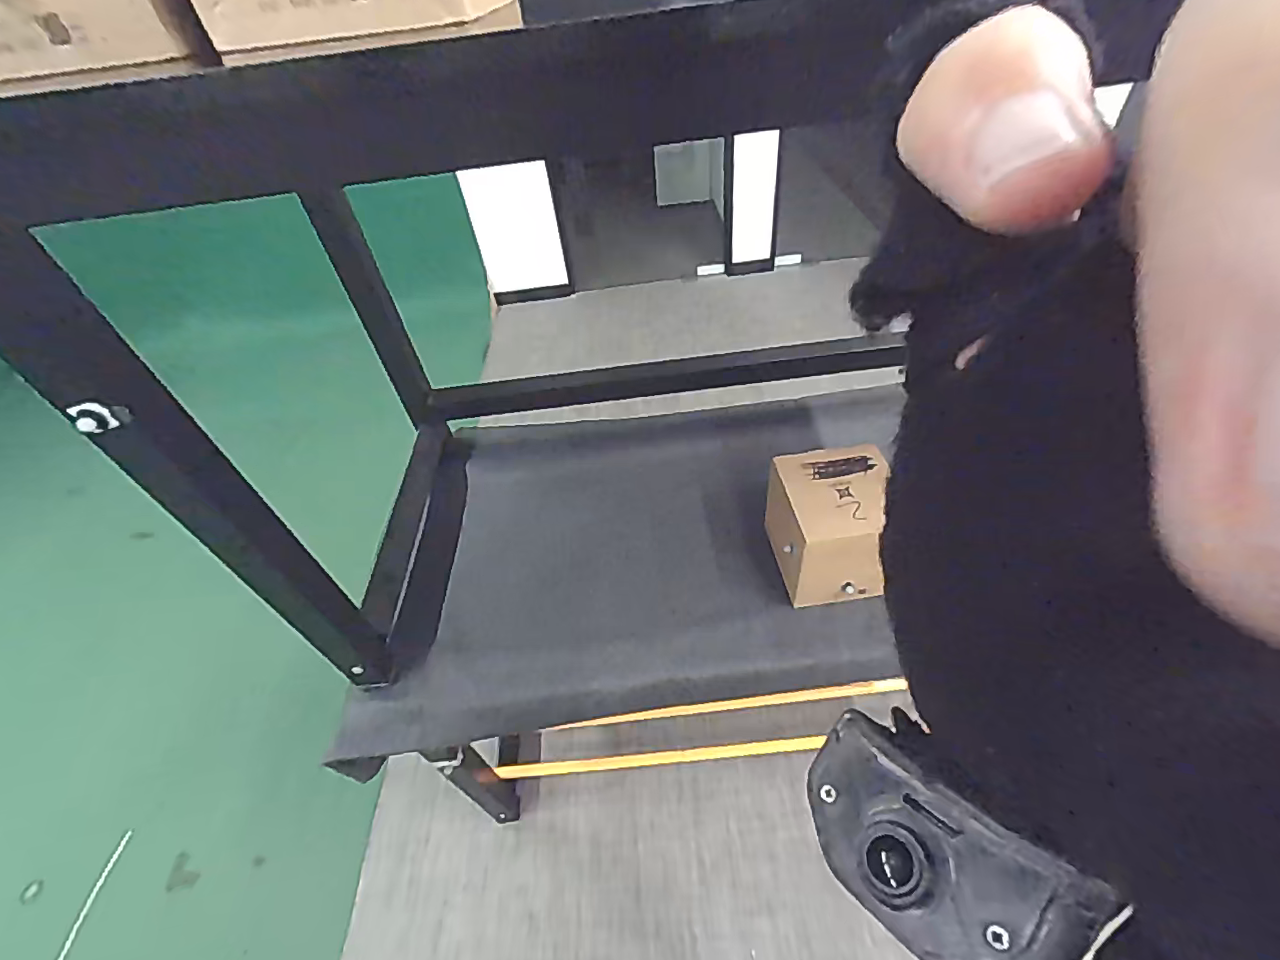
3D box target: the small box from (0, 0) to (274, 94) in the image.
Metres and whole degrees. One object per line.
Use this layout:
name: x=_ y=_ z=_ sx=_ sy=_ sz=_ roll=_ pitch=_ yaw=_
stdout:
small box: x=-0.378 y=-0.362 z=0.342 sx=0.168 sy=0.176 sz=0.179 roll=-7 pitch=46 yaw=0
